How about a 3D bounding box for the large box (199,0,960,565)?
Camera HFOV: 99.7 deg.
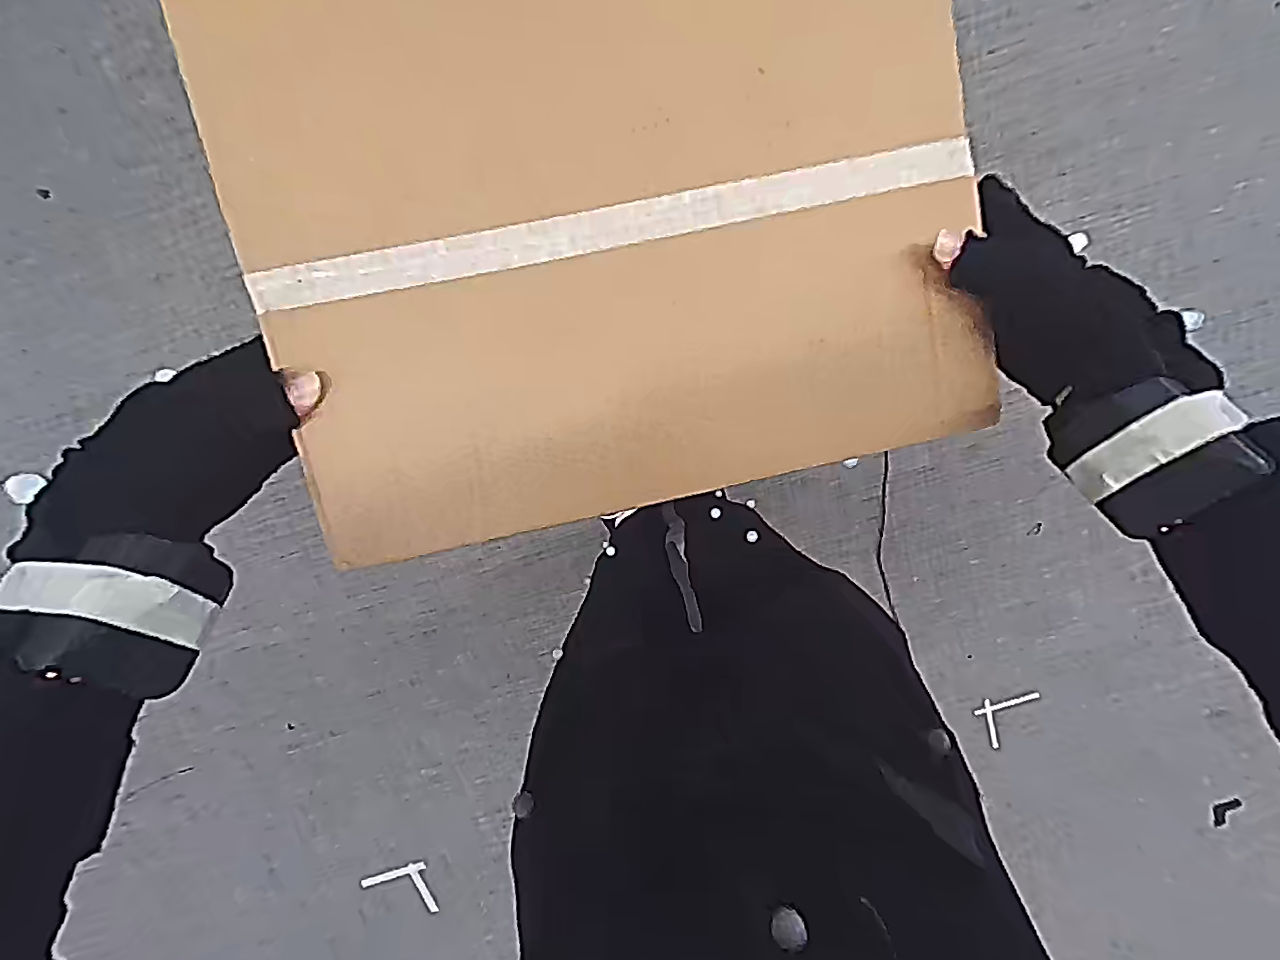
[{"bbox_3d":[-0.024,-0.160,0.467,0.408,0.320,0.320,-13,98,-4],"label":"large box"}]
